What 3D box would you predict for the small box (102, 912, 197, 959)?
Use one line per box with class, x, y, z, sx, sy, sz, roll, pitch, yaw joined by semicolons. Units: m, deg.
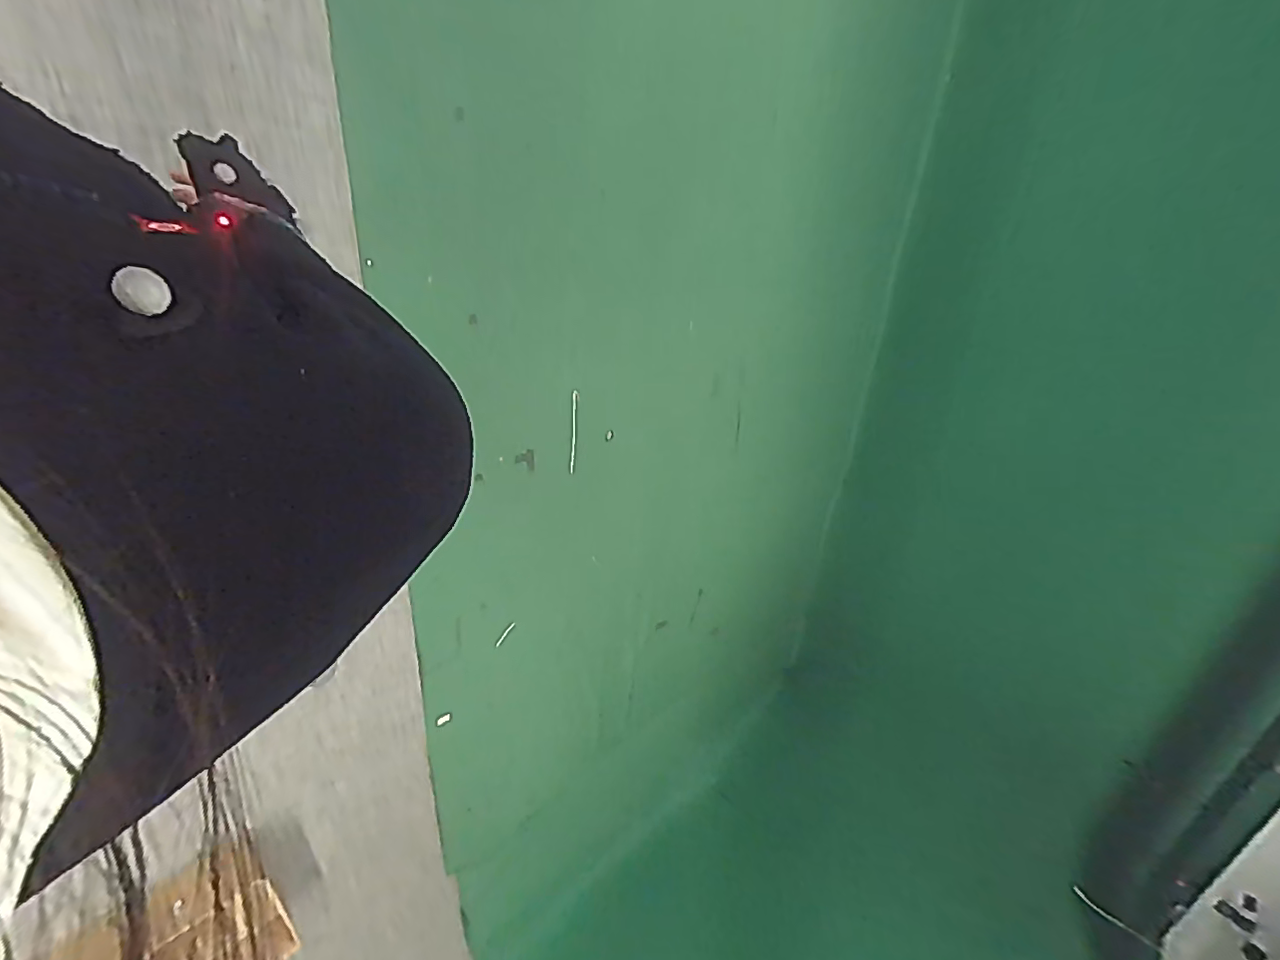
small box;-1.305;1.321;1.438;0.179;0.176;0.168;-25;129;-41
